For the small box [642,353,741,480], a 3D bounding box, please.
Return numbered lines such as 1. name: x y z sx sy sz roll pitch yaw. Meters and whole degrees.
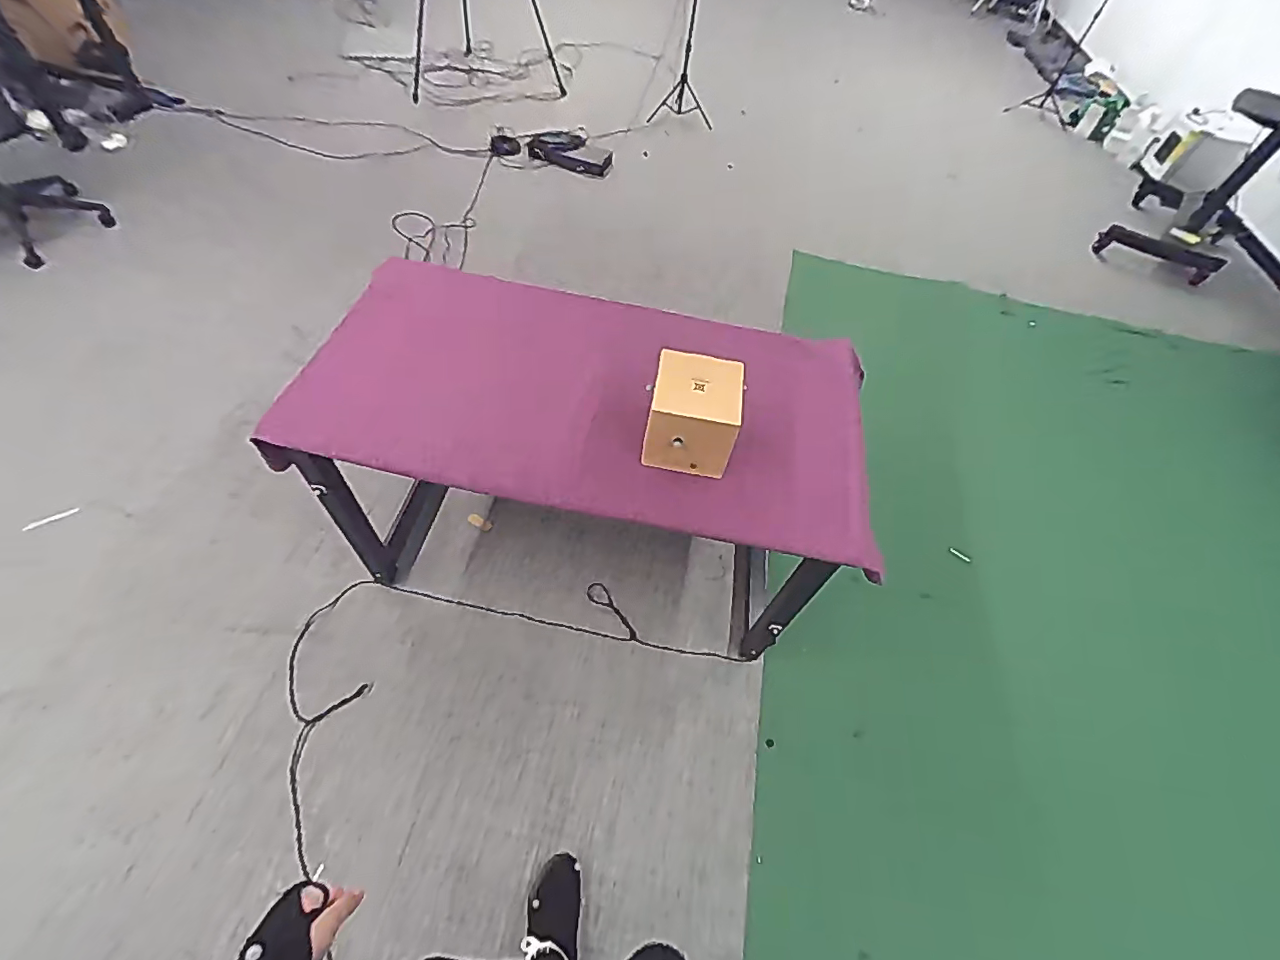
1. small box: 0.100 -0.122 1.082 0.168 0.176 0.179 10 52 1
